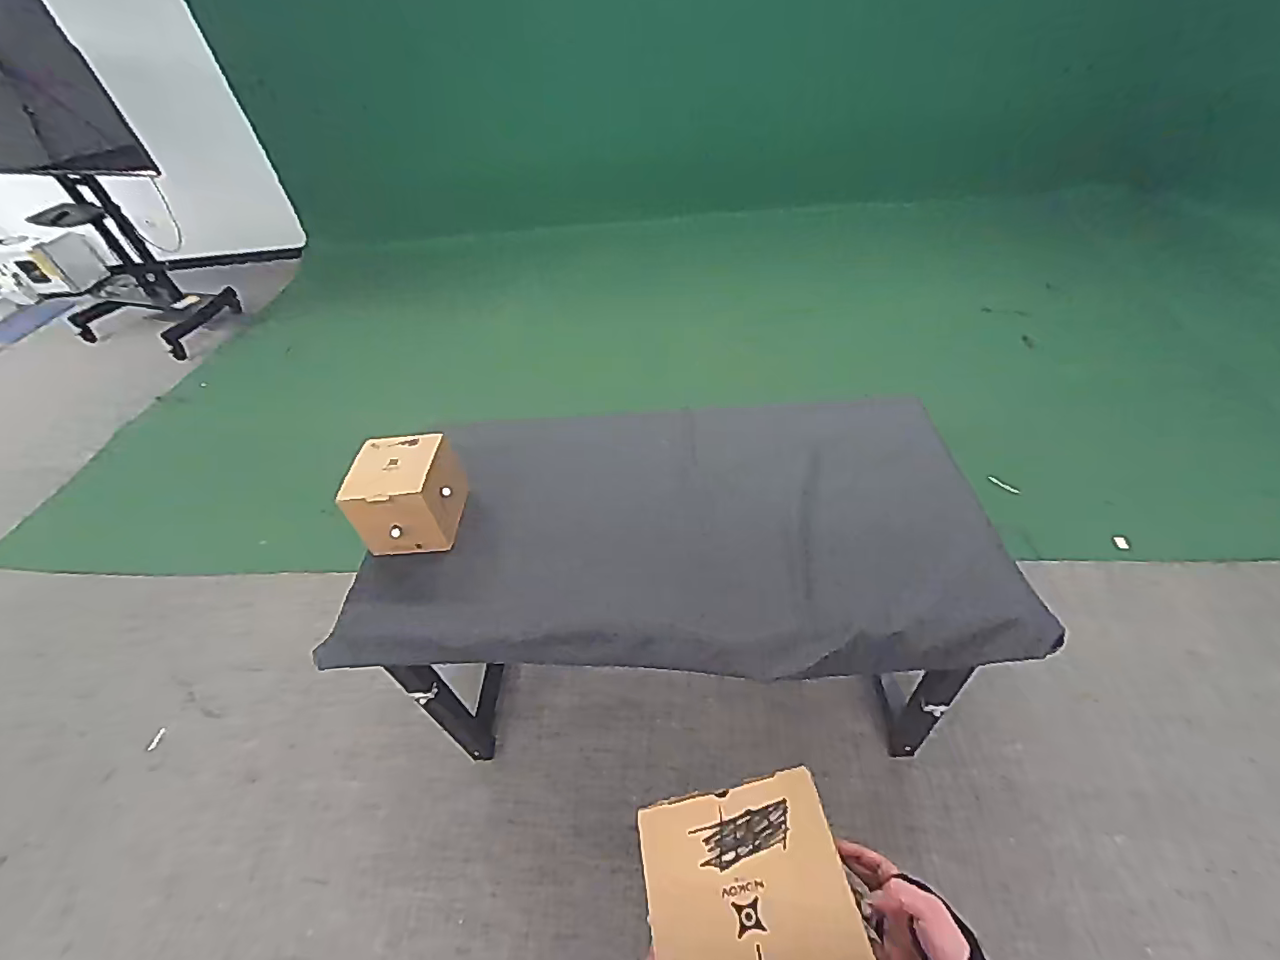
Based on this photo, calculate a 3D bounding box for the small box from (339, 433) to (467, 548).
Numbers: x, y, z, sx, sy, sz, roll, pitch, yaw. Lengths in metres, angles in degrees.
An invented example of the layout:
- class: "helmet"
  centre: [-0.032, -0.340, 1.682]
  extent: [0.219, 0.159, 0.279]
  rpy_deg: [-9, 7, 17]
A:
- class: "small box"
  centre: [-0.470, 0.027, 1.106]
  extent: [0.168, 0.176, 0.179]
  rpy_deg: [-4, 46, 3]
